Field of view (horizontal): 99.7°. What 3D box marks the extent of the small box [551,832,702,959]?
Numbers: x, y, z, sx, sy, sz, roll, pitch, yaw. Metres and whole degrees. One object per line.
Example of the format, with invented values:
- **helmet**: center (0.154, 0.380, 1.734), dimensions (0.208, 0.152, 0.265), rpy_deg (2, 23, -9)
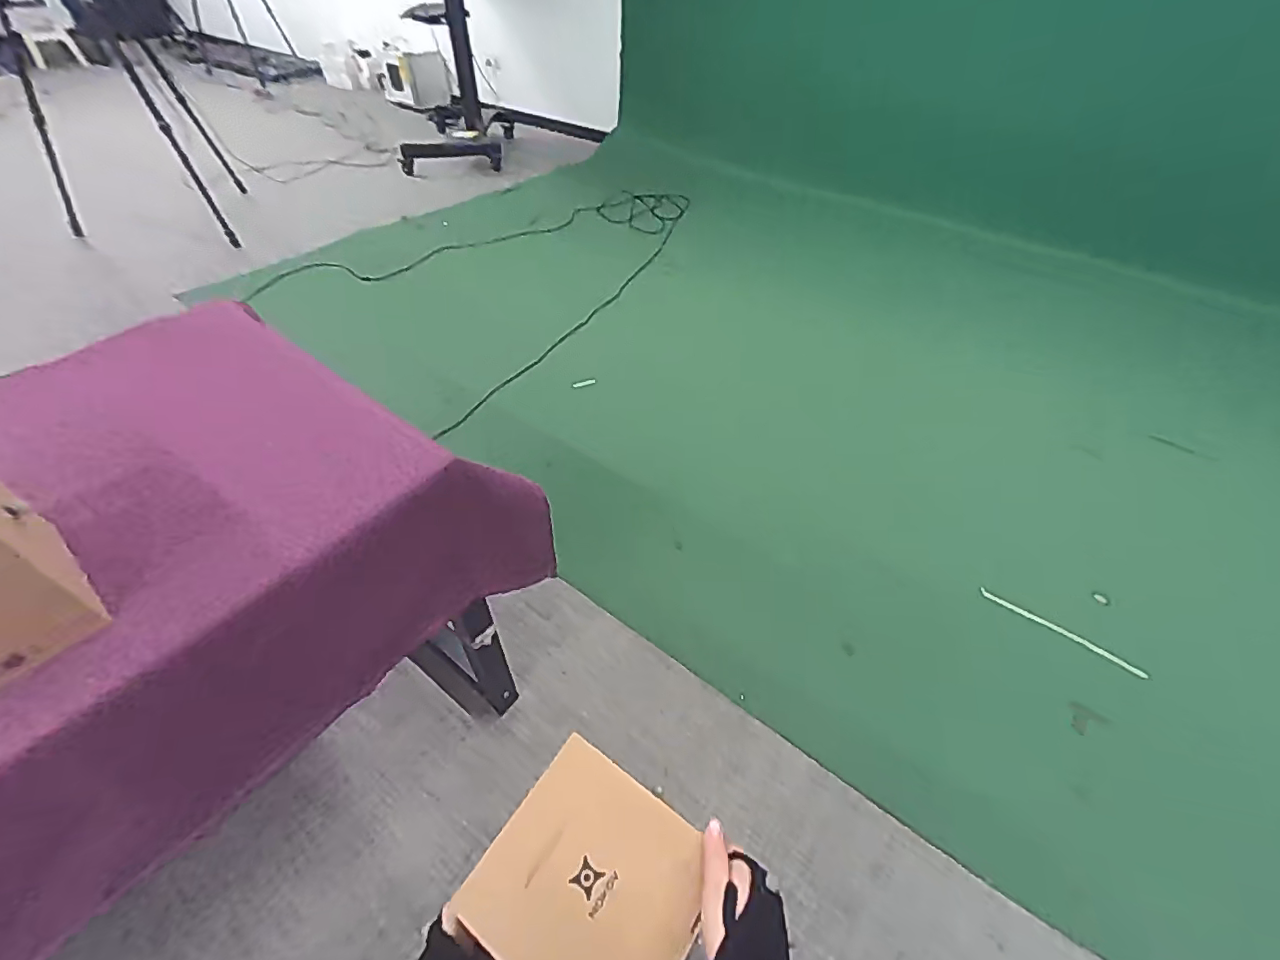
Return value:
- **small box**: center (-0.018, 0.720, 0.869), dimensions (0.168, 0.176, 0.179), rpy_deg (28, 51, 22)
